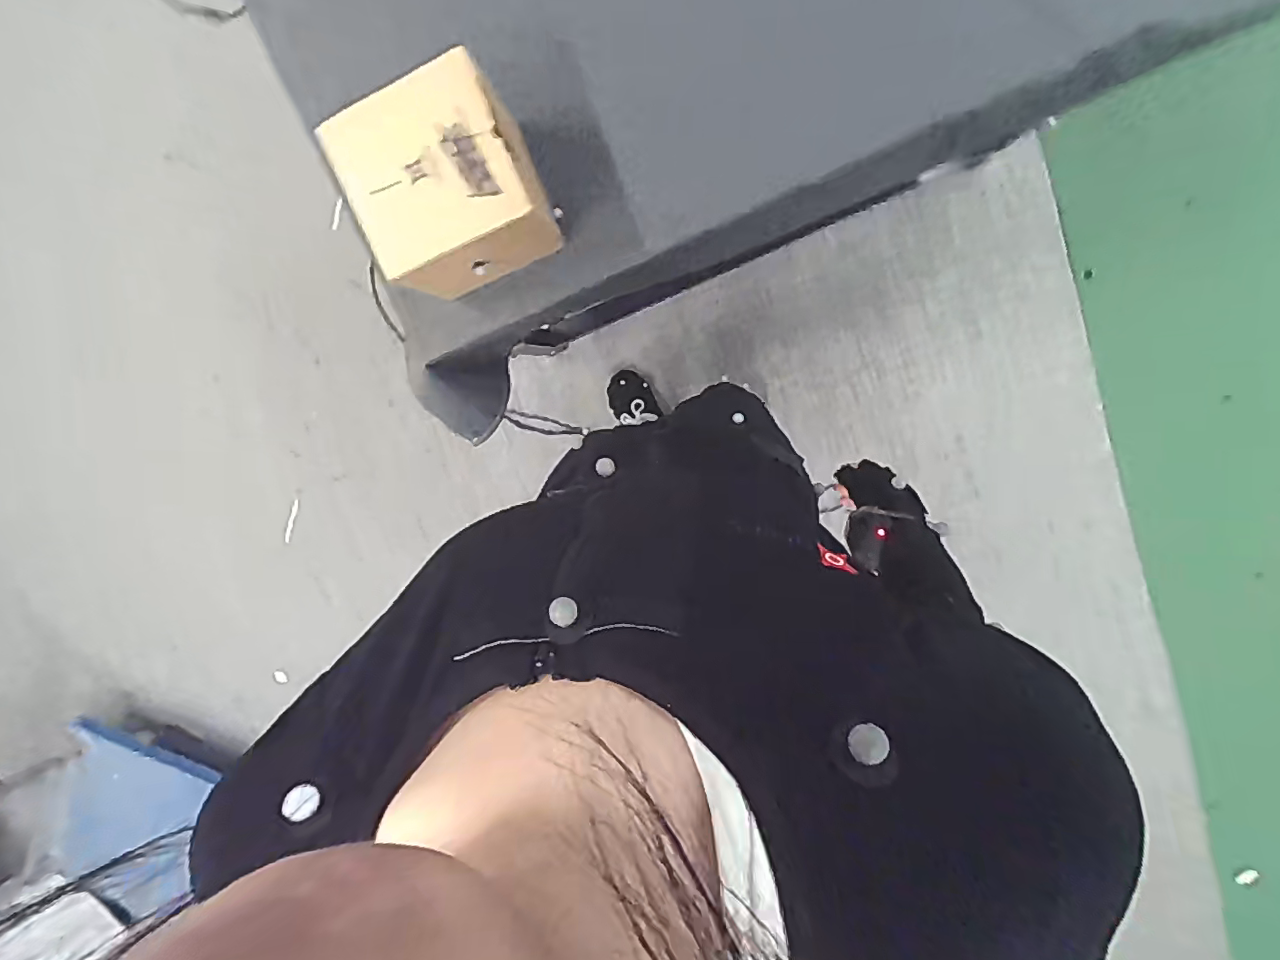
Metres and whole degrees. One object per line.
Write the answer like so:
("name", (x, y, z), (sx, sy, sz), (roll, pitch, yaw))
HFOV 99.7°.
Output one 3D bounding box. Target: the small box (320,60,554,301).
("small box", (-0.215, -0.327, 0.633), (0.179, 0.176, 0.168), (-22, 99, 8))
